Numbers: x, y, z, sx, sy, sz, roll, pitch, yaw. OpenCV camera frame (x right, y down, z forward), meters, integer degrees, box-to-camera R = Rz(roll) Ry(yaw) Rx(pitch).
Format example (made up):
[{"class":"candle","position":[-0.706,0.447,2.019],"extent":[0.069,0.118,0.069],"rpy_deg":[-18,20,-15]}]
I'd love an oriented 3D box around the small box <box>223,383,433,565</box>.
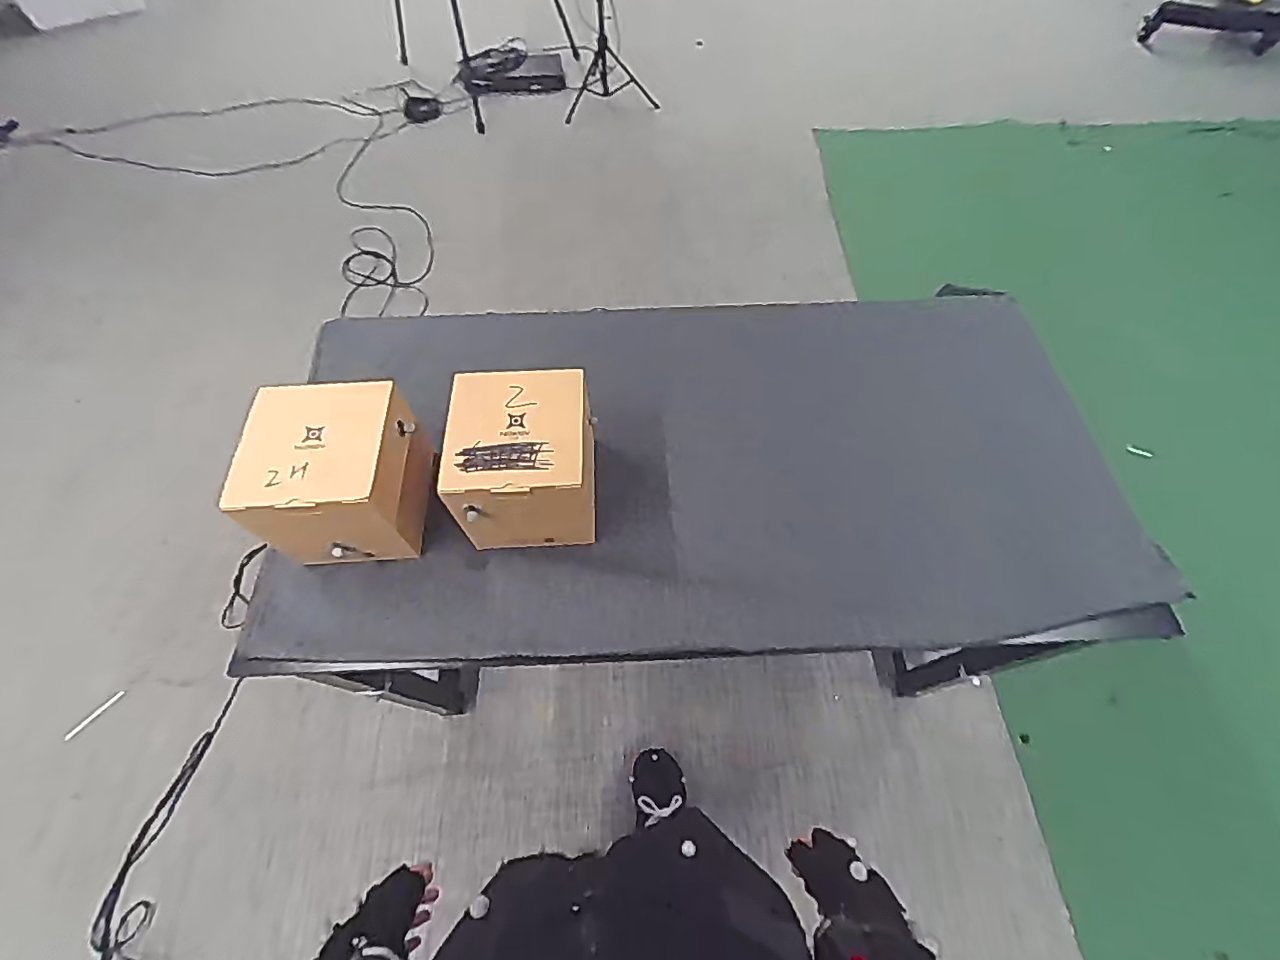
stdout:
[{"class":"small box","position":[-0.383,-0.004,0.705],"extent":[0.168,0.176,0.179],"rpy_deg":[-3,60,-3]}]
